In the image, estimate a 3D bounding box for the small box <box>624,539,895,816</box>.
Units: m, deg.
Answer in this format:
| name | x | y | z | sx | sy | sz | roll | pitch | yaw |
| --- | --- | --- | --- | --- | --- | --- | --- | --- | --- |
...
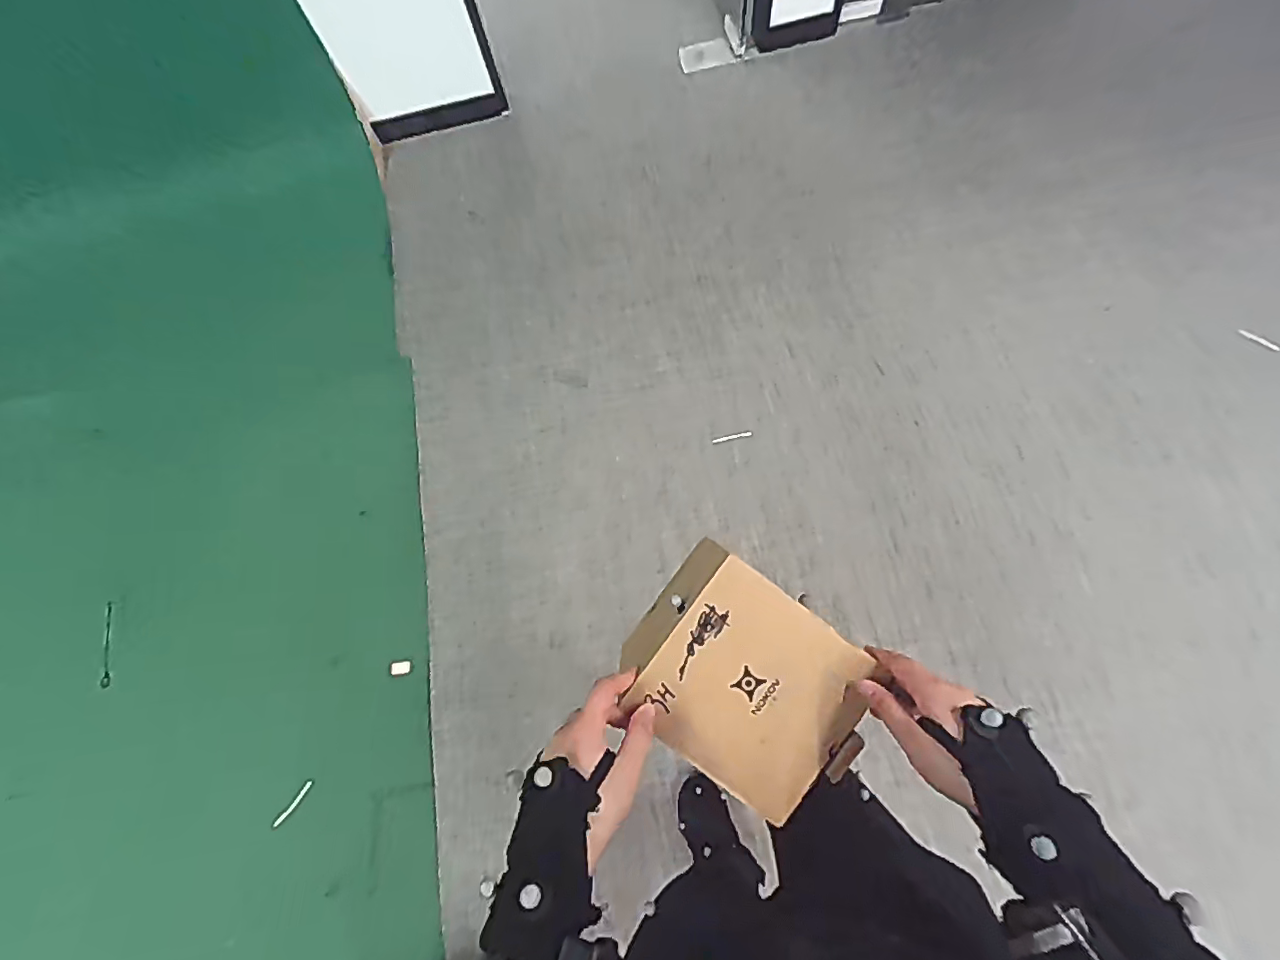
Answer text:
| name | x | y | z | sx | sy | sz | roll | pitch | yaw |
| --- | --- | --- | --- | --- | --- | --- | --- | --- | --- |
| small box | 0.102 | 0.172 | 0.539 | 0.179 | 0.176 | 0.168 | 37 | 88 | 0 |
